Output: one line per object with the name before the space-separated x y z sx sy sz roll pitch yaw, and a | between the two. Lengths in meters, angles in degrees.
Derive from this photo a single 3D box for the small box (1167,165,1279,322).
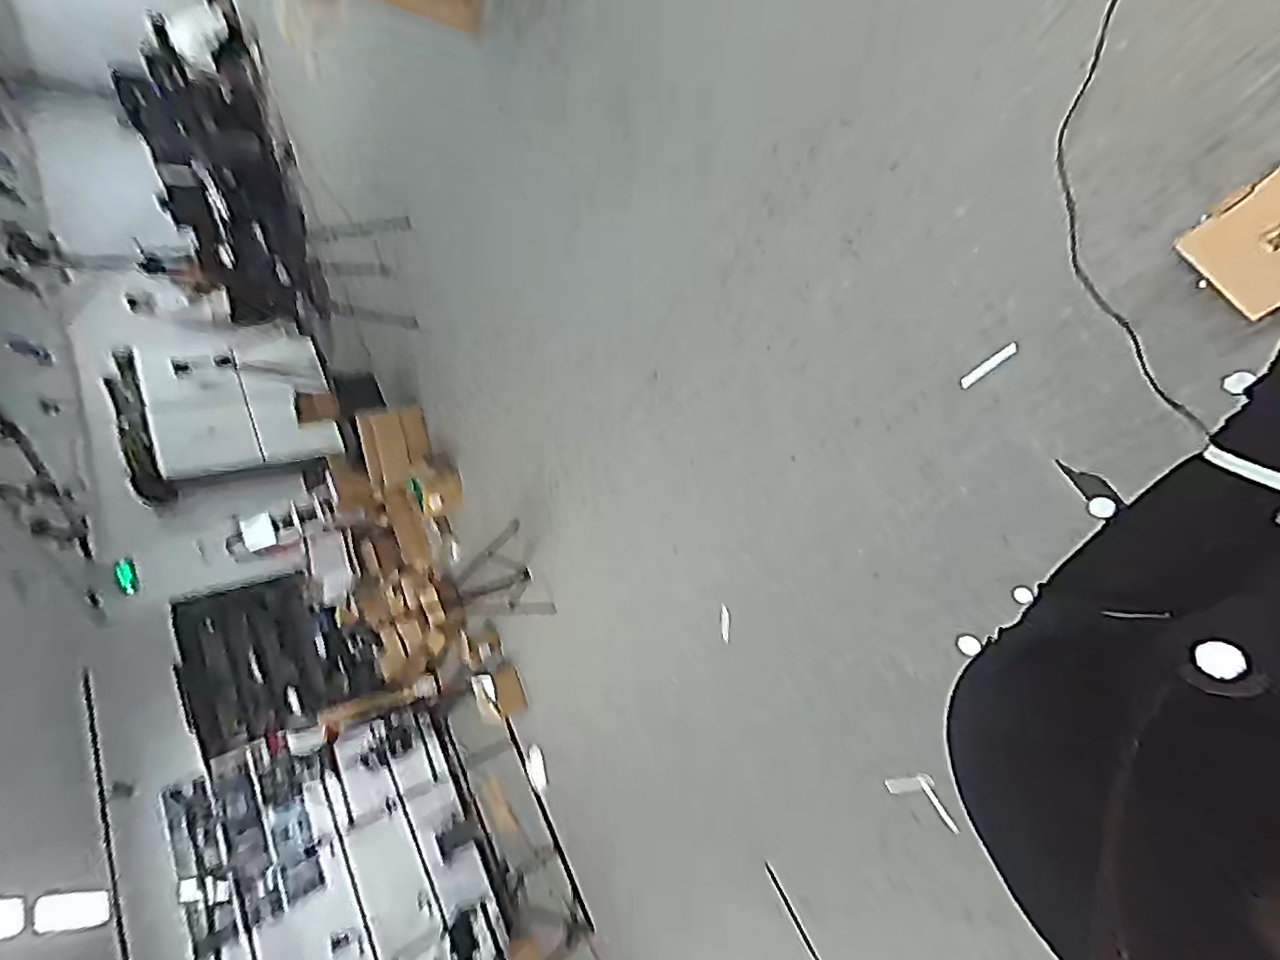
small box | 1.015 -0.375 0.870 0.179 0.176 0.168 61 141 16
